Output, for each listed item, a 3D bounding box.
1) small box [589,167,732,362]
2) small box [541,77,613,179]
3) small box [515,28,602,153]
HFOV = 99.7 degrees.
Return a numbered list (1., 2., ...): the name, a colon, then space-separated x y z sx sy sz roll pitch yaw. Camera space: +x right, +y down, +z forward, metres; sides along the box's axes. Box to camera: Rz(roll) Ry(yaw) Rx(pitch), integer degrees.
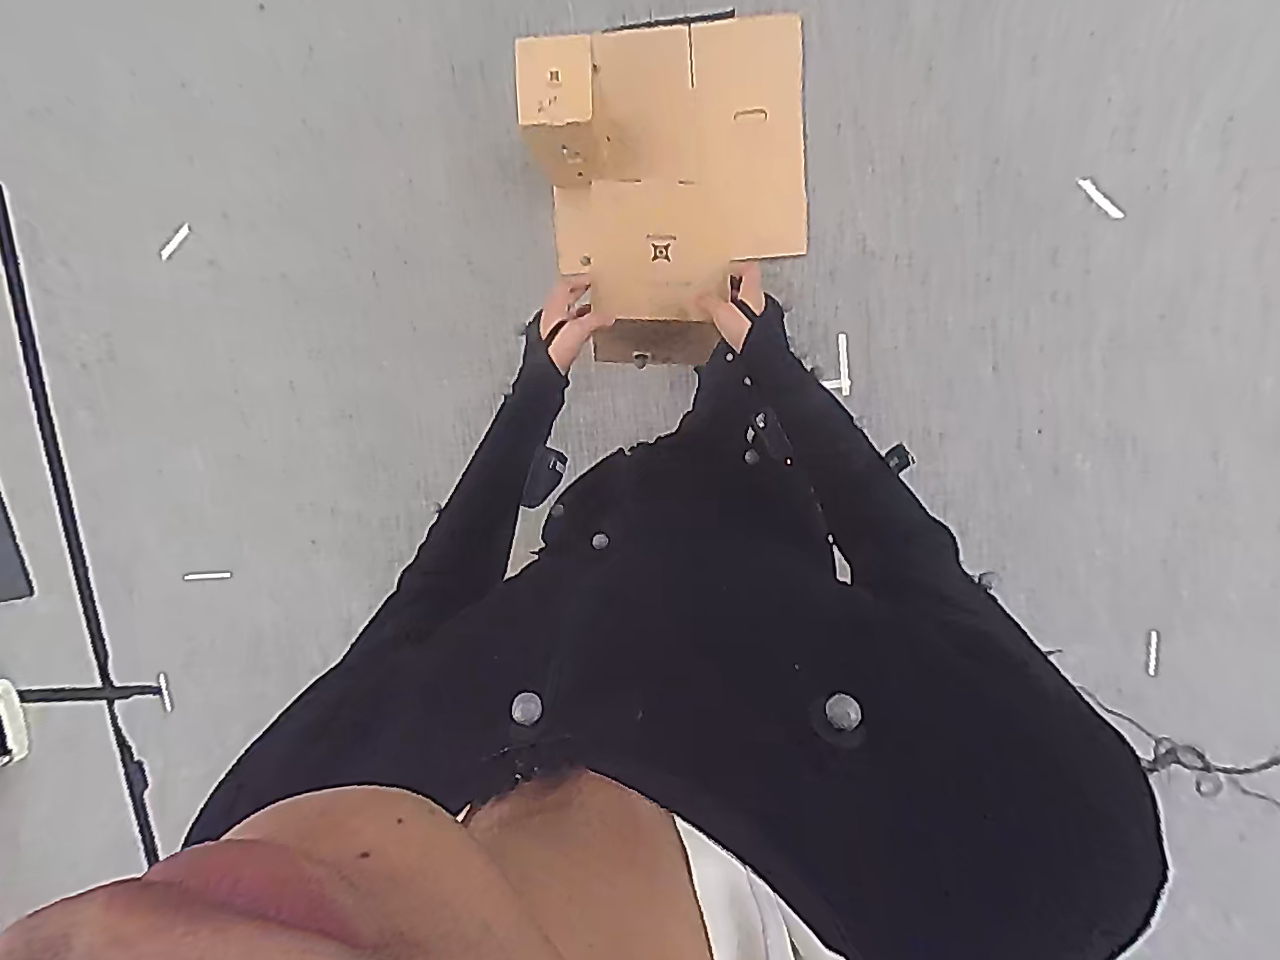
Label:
1. small box: 0.018 -0.266 0.700 0.168 0.176 0.179 0 84 -4
2. small box: -0.160 -0.892 1.390 0.168 0.176 0.179 -1 99 3
3. small box: -0.178 -0.874 1.226 0.168 0.176 0.179 0 99 4
